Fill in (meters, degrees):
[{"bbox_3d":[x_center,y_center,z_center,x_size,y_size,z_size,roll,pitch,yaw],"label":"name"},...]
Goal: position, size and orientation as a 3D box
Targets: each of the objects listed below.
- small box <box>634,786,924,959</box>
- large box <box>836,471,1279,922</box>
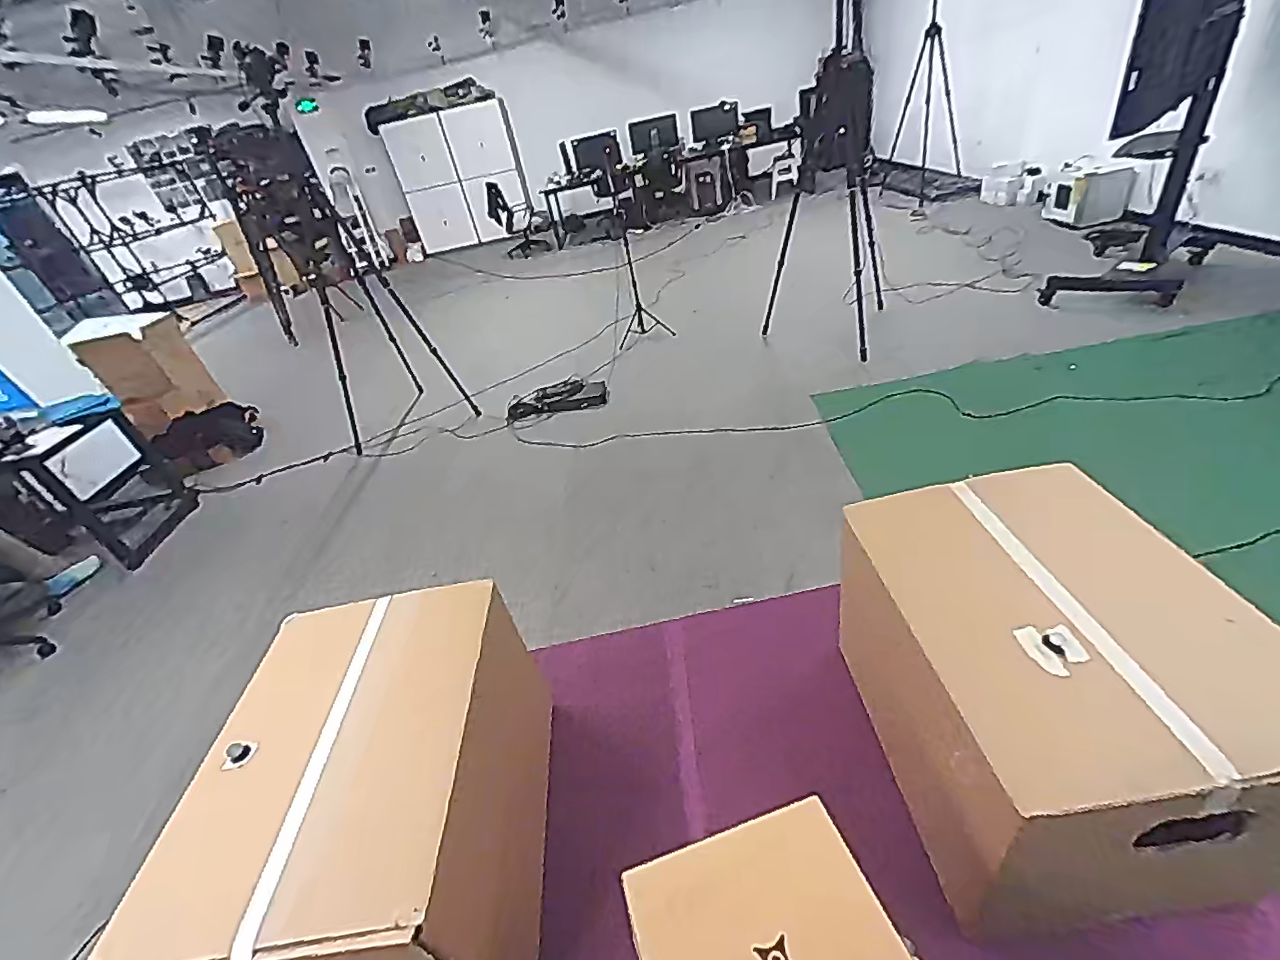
[{"bbox_3d":[0.100,0.375,0.397,0.168,0.176,0.179,-14,34,-12],"label":"small box"},{"bbox_3d":[0.473,0.244,0.677,0.320,0.320,0.408,-11,36,4],"label":"large box"}]
